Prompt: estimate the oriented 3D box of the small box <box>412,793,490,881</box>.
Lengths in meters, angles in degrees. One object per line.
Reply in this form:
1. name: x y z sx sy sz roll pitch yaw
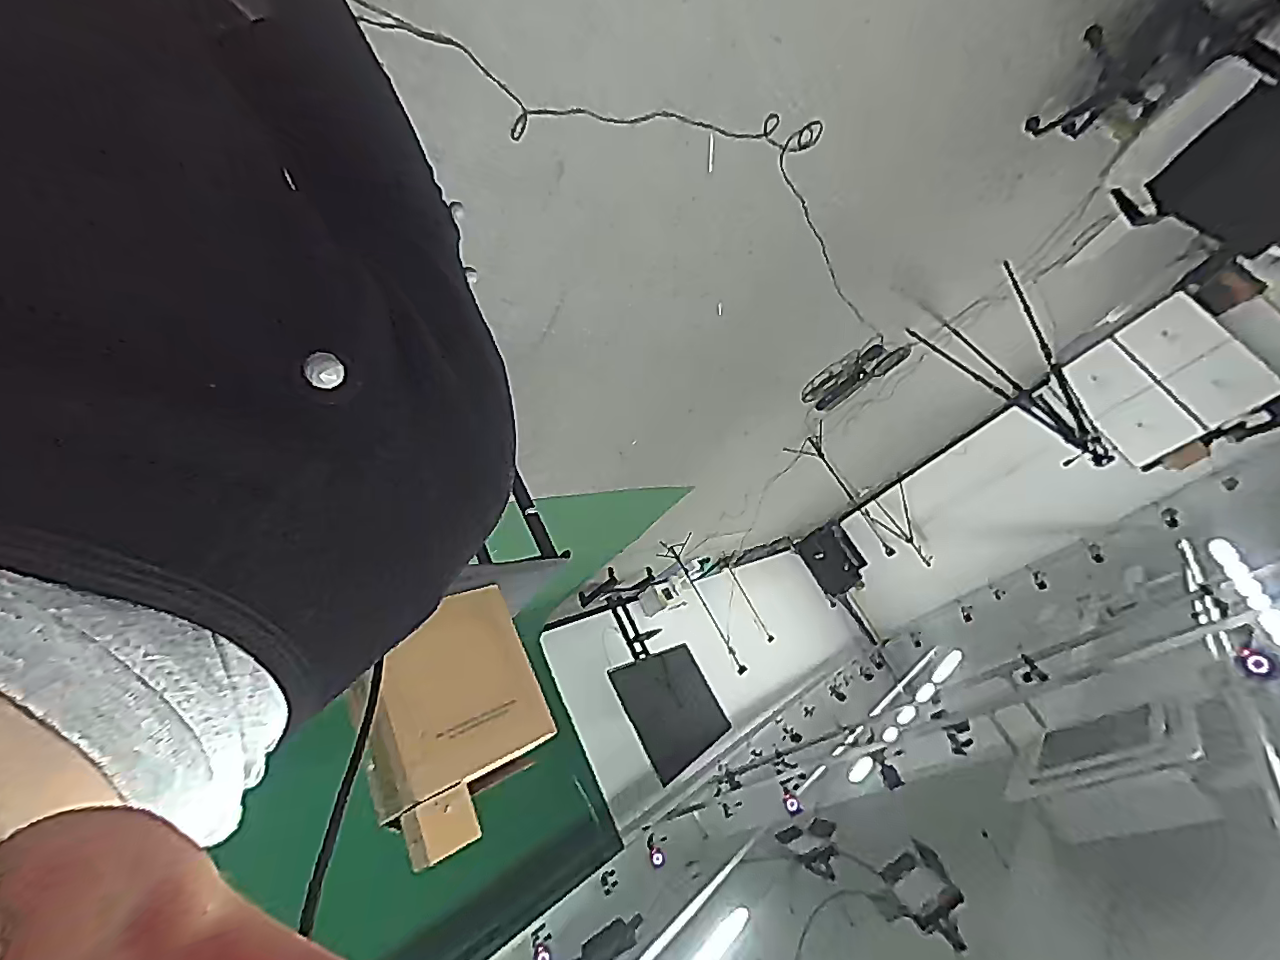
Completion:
1. small box: -0.603 1.125 1.710 0.168 0.176 0.179 -6 147 -44
